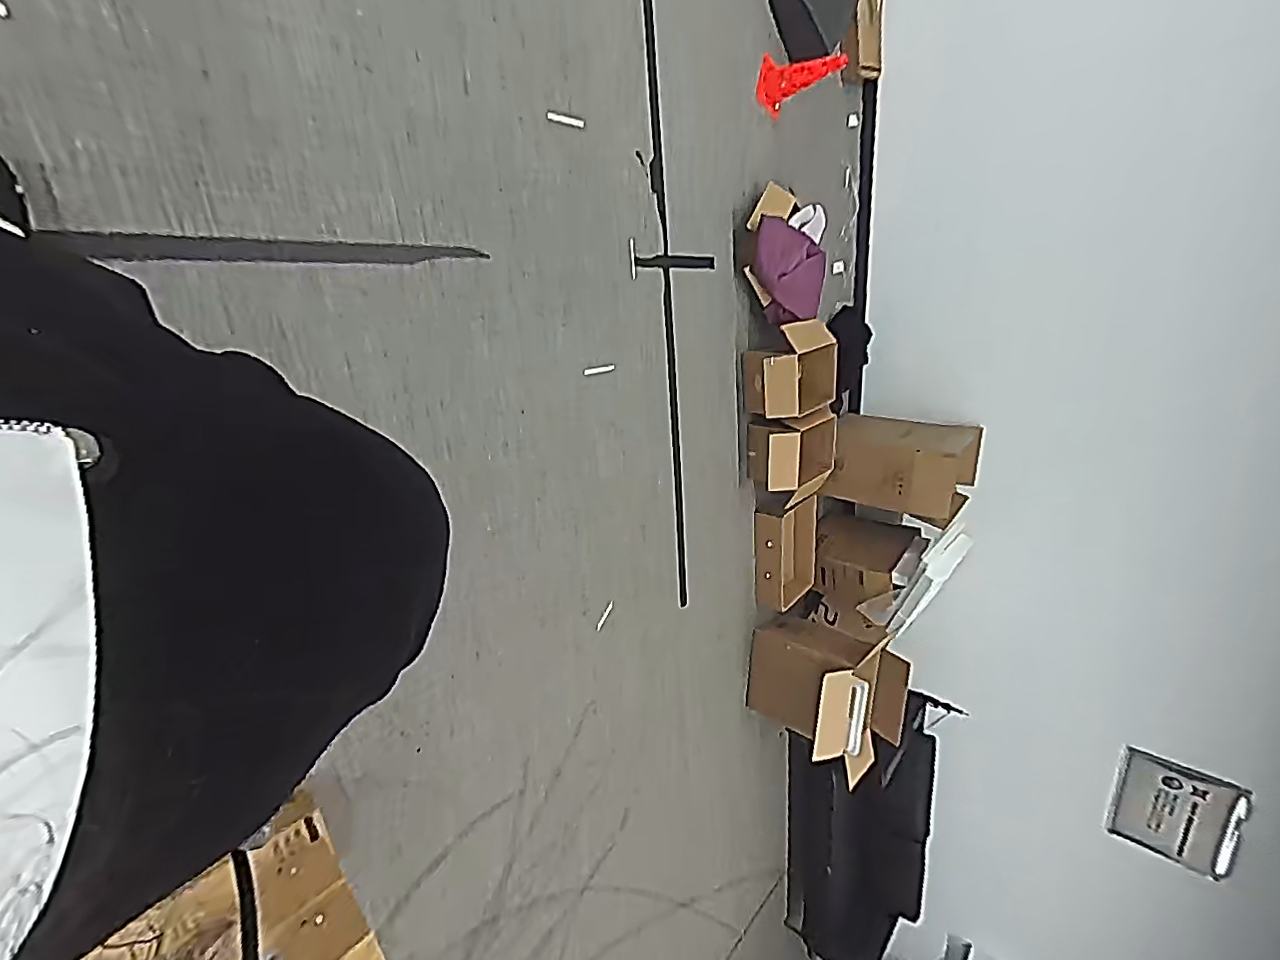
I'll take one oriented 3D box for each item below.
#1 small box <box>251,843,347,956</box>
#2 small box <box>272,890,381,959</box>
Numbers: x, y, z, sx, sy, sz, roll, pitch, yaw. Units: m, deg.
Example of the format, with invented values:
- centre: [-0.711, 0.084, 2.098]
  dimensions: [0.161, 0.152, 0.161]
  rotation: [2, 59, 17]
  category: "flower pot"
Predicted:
- centre: [-0.829, 1.059, 1.338]
  dimensions: [0.168, 0.176, 0.179]
  rotation: [-23, 116, -43]
  category: "small box"
- centre: [-0.707, 1.102, 1.236]
  dimensions: [0.168, 0.176, 0.179]
  rotation: [-25, 117, -42]
  category: "small box"
